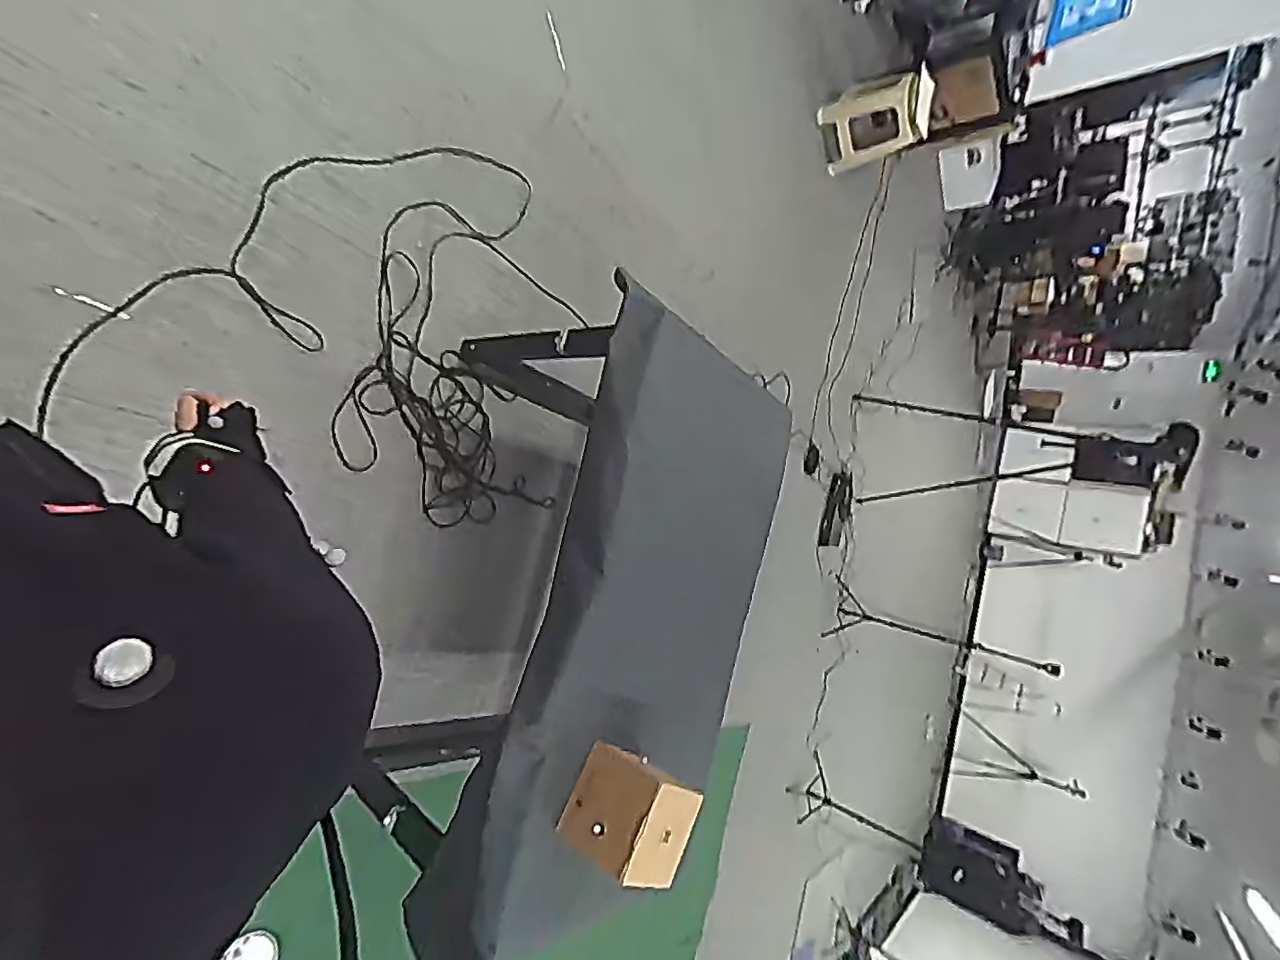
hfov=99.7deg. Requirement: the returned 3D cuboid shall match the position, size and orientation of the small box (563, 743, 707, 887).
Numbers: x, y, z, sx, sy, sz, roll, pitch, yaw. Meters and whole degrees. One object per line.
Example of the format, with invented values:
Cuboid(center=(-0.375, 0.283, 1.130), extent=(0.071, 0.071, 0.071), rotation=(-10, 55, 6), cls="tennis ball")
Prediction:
Cuboid(center=(-0.010, 0.614, 1.002), extent=(0.179, 0.176, 0.168), rotation=(47, 63, -44), cls="small box")
